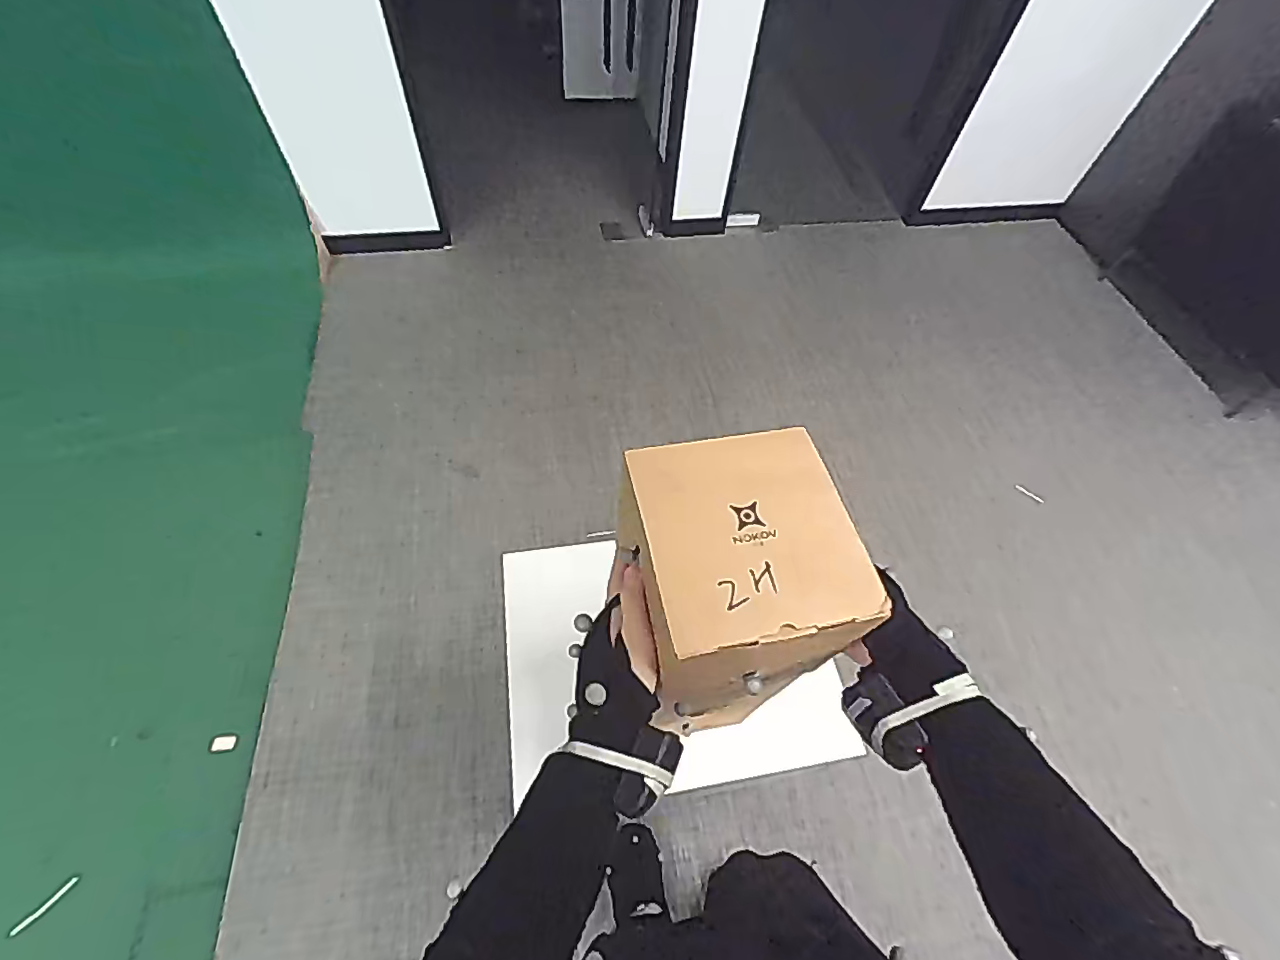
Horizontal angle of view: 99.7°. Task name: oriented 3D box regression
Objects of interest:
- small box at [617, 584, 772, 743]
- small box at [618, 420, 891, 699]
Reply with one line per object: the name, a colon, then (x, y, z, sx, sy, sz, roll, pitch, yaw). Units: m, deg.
small box: (0.061, 0.249, 0.756, 0.168, 0.176, 0.179, -6, 57, -9)
small box: (0.076, 0.073, 0.478, 0.168, 0.176, 0.179, -8, 57, -10)
